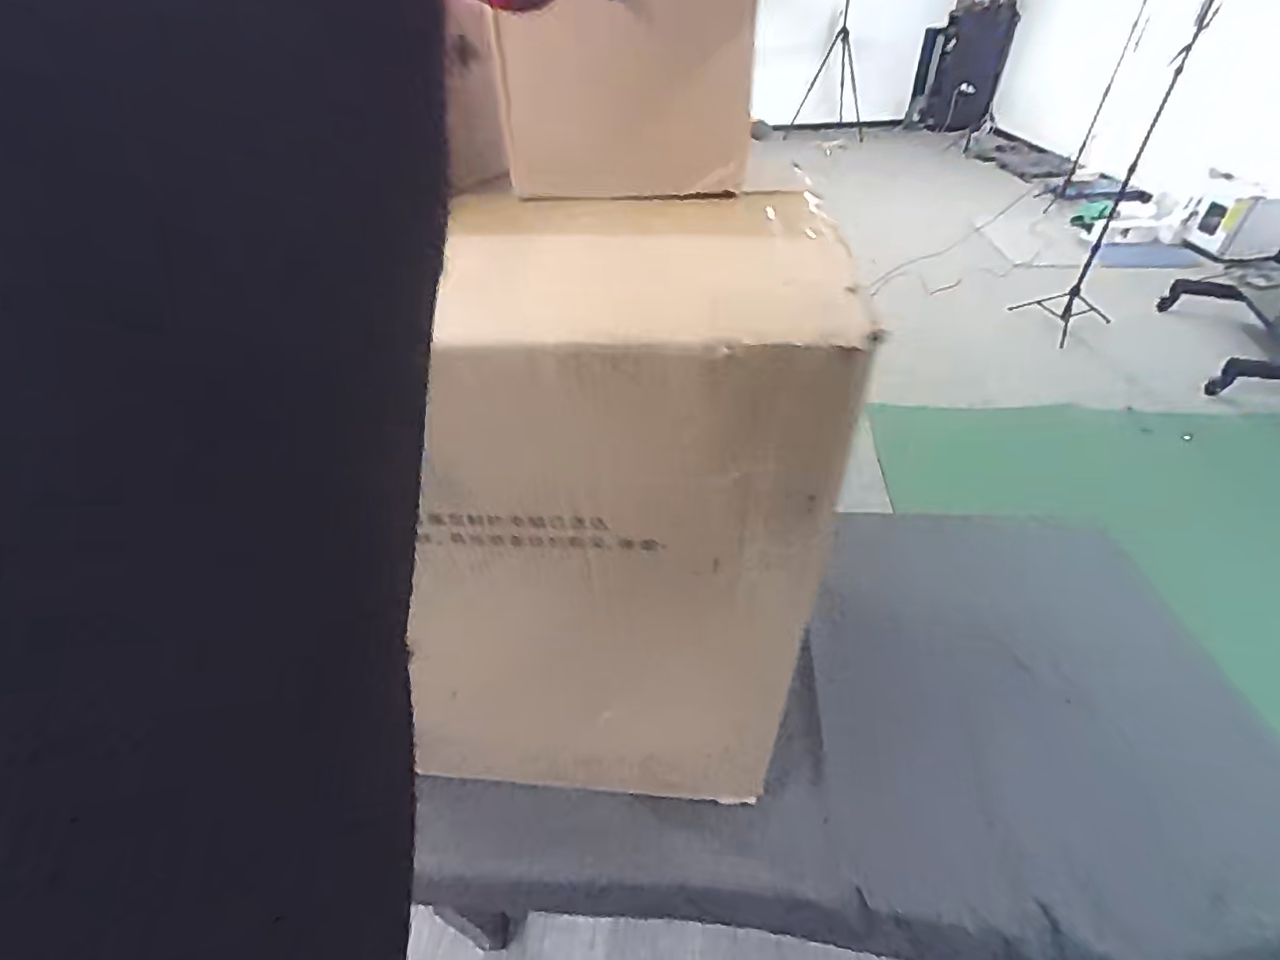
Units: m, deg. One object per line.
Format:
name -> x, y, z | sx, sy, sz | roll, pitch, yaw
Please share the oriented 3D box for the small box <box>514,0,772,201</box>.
small box -> 0.007, -0.326, 0.426 | 0.179, 0.176, 0.168 | 3, 38, 5
